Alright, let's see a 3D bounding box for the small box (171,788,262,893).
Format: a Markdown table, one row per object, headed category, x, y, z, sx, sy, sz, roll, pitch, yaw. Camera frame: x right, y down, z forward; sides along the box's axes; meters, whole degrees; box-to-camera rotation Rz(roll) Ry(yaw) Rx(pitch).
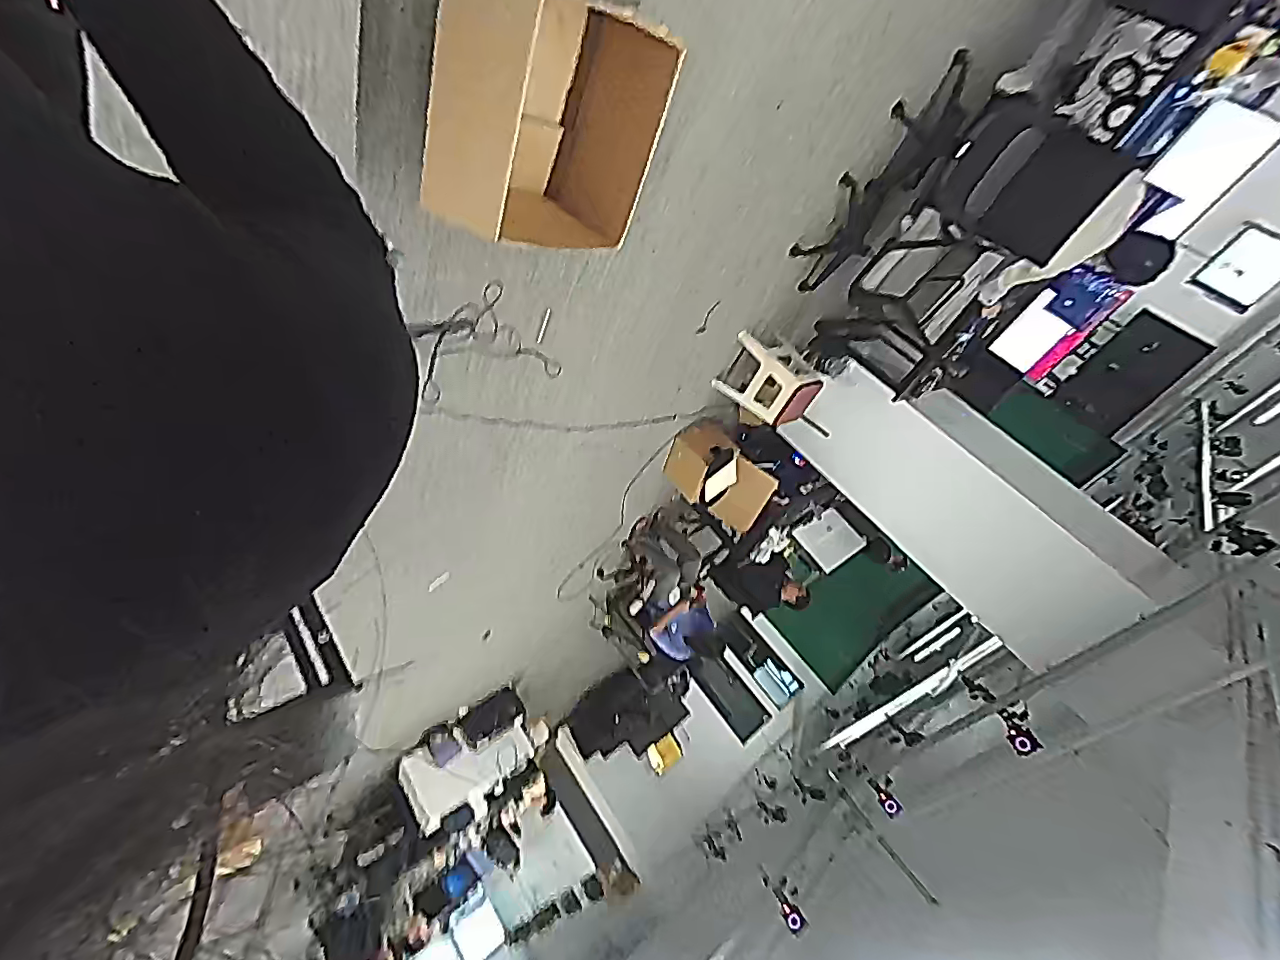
| category | x | y | z | sx | sy | sz | roll | pitch | yaw |
| --- | --- | --- | --- | --- | --- | --- | --- | --- | --- |
| small box | -1.195 | 1.013 | 1.531 | 0.168 | 0.176 | 0.179 | -18 | 147 | -43 |
